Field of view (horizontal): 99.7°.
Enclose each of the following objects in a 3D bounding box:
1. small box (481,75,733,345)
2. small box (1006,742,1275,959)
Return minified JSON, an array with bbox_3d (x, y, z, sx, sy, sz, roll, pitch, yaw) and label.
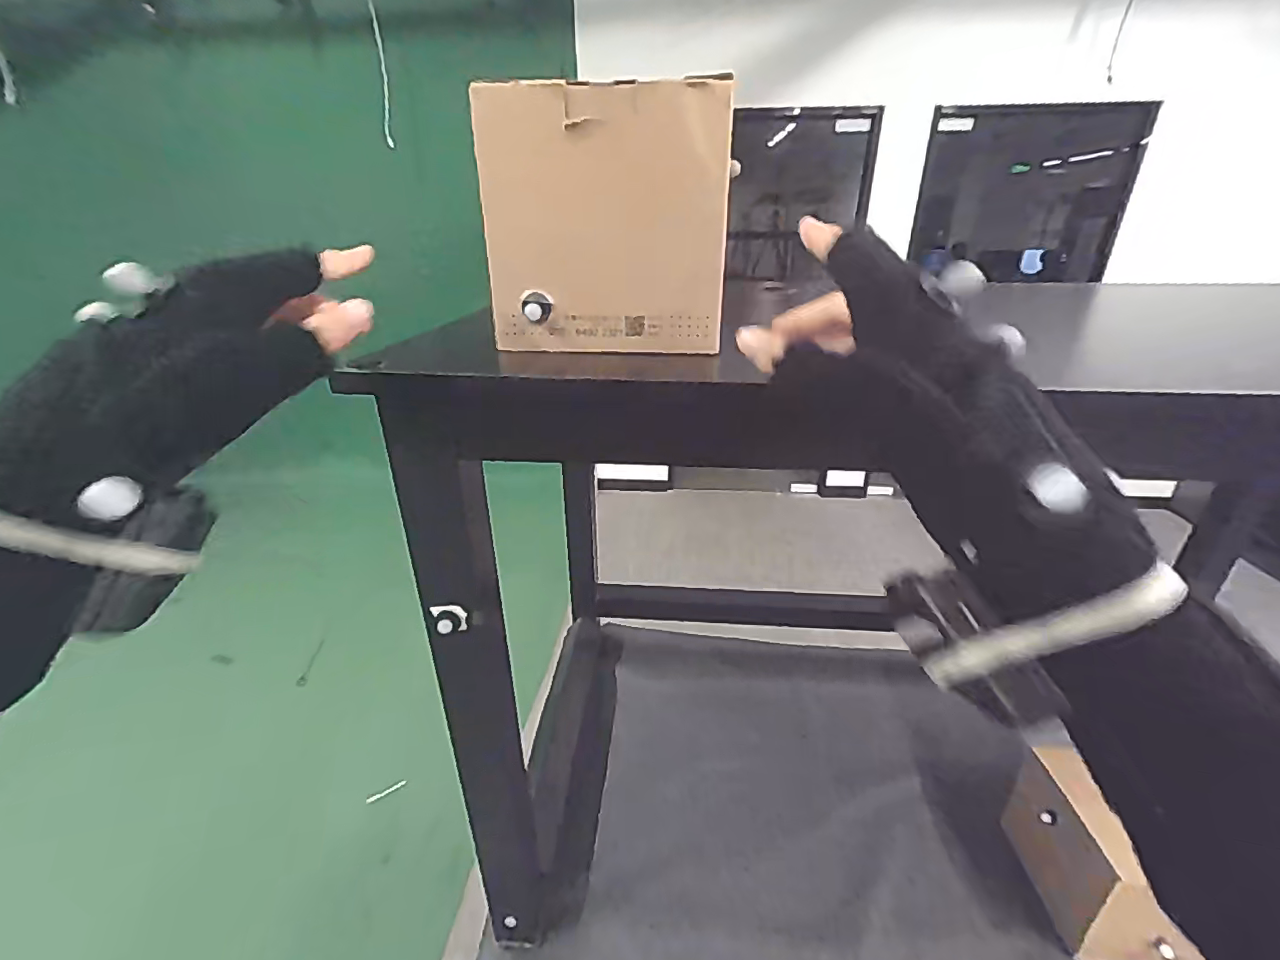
[{"bbox_3d":[-0.015,-0.210,0.448,0.168,0.176,0.179,2,24,3],"label":"small box"},{"bbox_3d":[0.617,0.475,0.701,0.168,0.176,0.179,1,24,4],"label":"small box"}]
